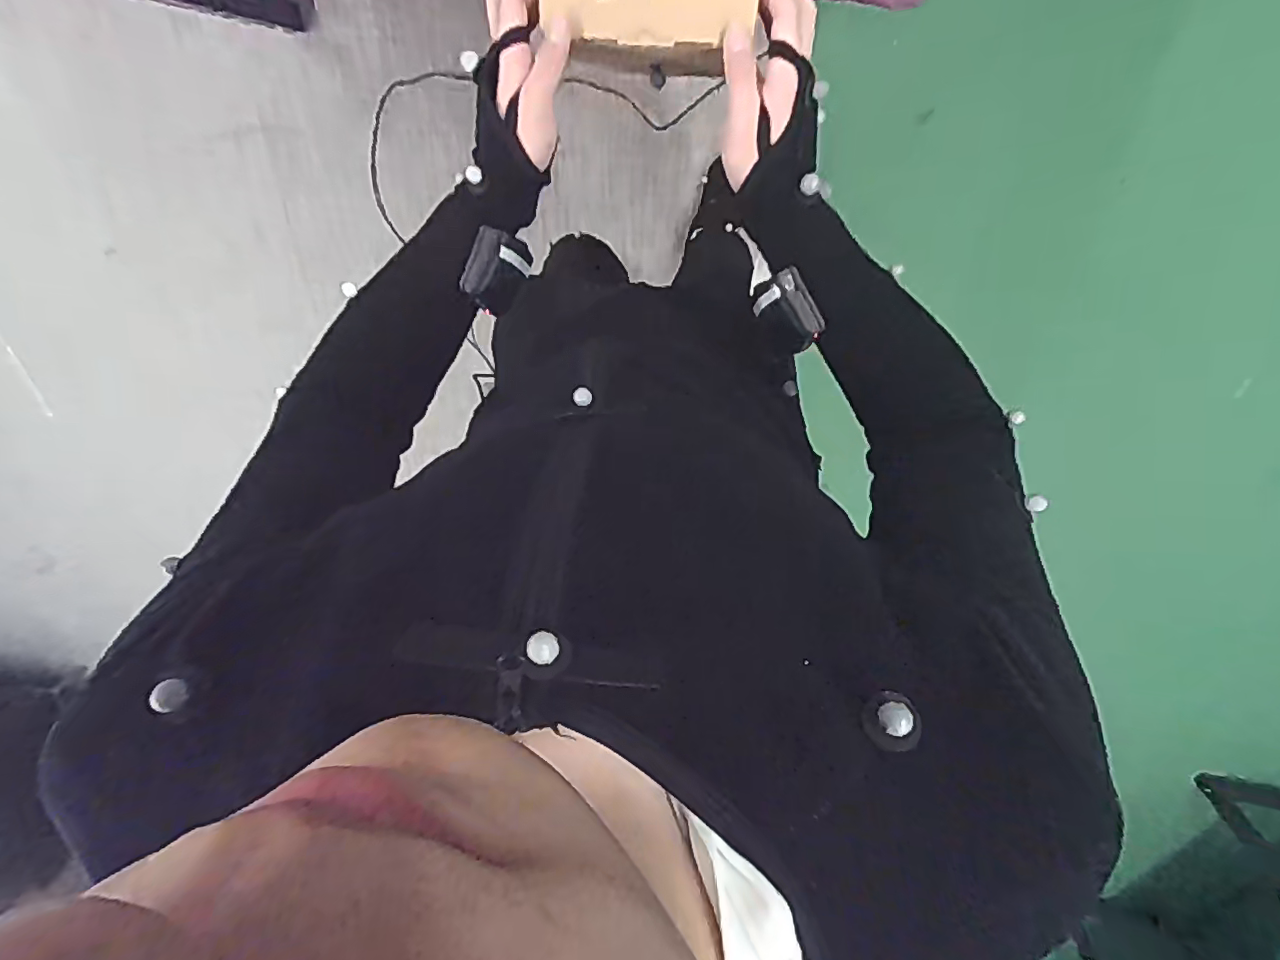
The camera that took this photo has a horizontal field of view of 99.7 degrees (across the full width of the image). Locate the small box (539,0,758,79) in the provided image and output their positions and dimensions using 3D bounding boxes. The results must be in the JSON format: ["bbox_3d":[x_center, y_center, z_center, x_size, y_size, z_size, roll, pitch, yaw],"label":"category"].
[{"bbox_3d":[0.019,-0.449,0.438,0.168,0.176,0.179,7,121,5],"label":"small box"}]
